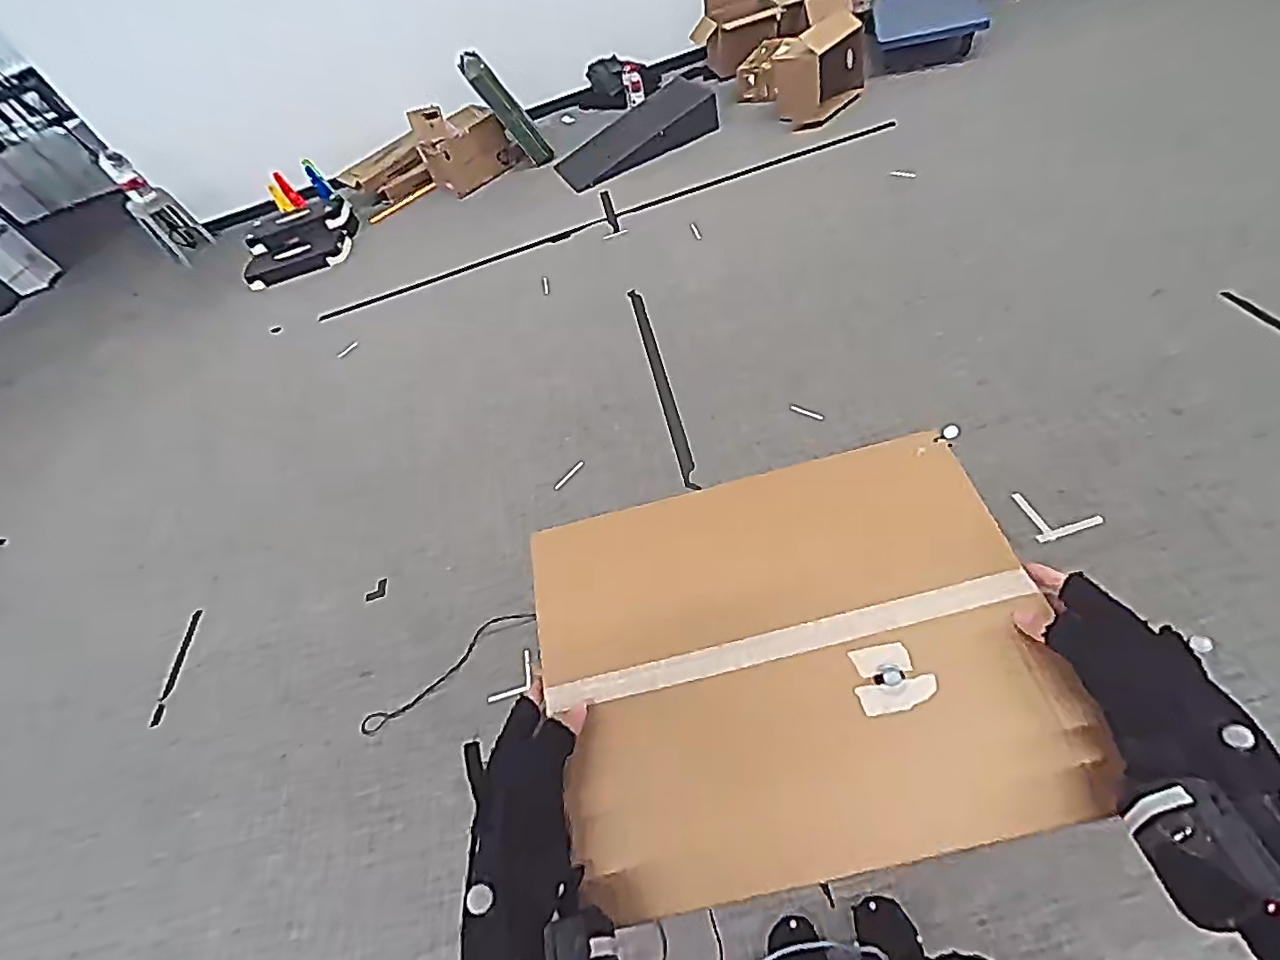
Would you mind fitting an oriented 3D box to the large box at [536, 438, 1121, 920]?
[{"bbox_3d":[0.139,0.210,0.585,0.408,0.320,0.320,-15,60,1],"label":"large box"}]
